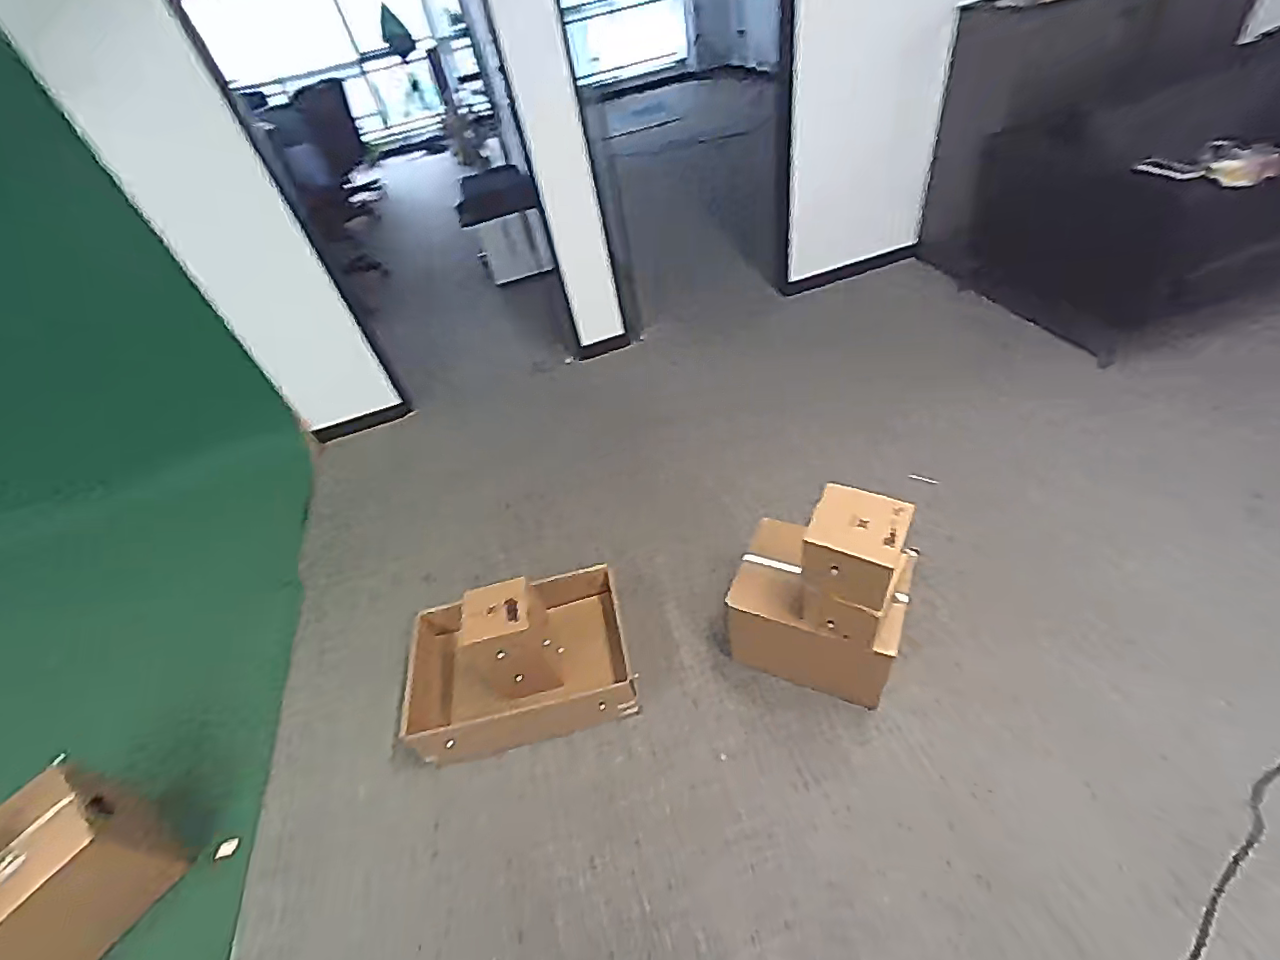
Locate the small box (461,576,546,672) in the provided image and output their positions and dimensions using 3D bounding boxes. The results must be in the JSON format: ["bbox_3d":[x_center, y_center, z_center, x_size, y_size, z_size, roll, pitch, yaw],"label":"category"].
[{"bbox_3d":[-0.357,0.387,1.447,0.179,0.176,0.168,-16,44,1],"label":"small box"}]

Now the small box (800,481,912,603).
[{"bbox_3d":[0.447,0.133,1.135,0.179,0.176,0.168,17,55,28],"label":"small box"}]

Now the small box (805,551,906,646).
[{"bbox_3d":[0.489,0.246,1.248,0.168,0.176,0.179,21,57,30],"label":"small box"}]

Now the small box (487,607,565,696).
[{"bbox_3d":[-0.329,0.499,1.563,0.179,0.176,0.168,-15,45,-1],"label":"small box"}]
